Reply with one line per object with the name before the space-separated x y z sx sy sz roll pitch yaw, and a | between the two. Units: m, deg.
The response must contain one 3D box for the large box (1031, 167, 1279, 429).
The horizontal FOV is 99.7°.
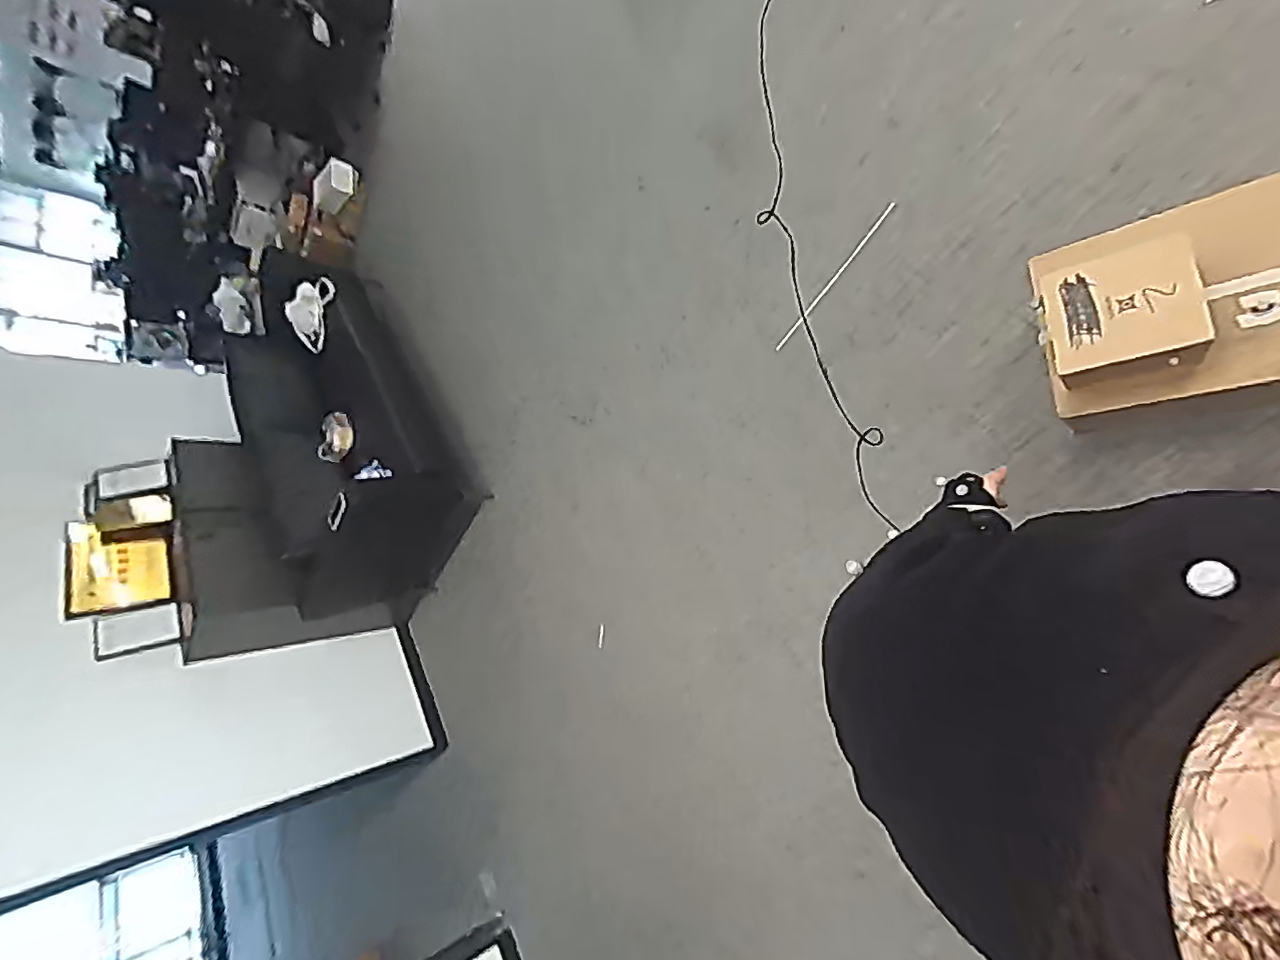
large box | 0.997 -0.298 0.980 0.408 0.320 0.320 -12 81 41
